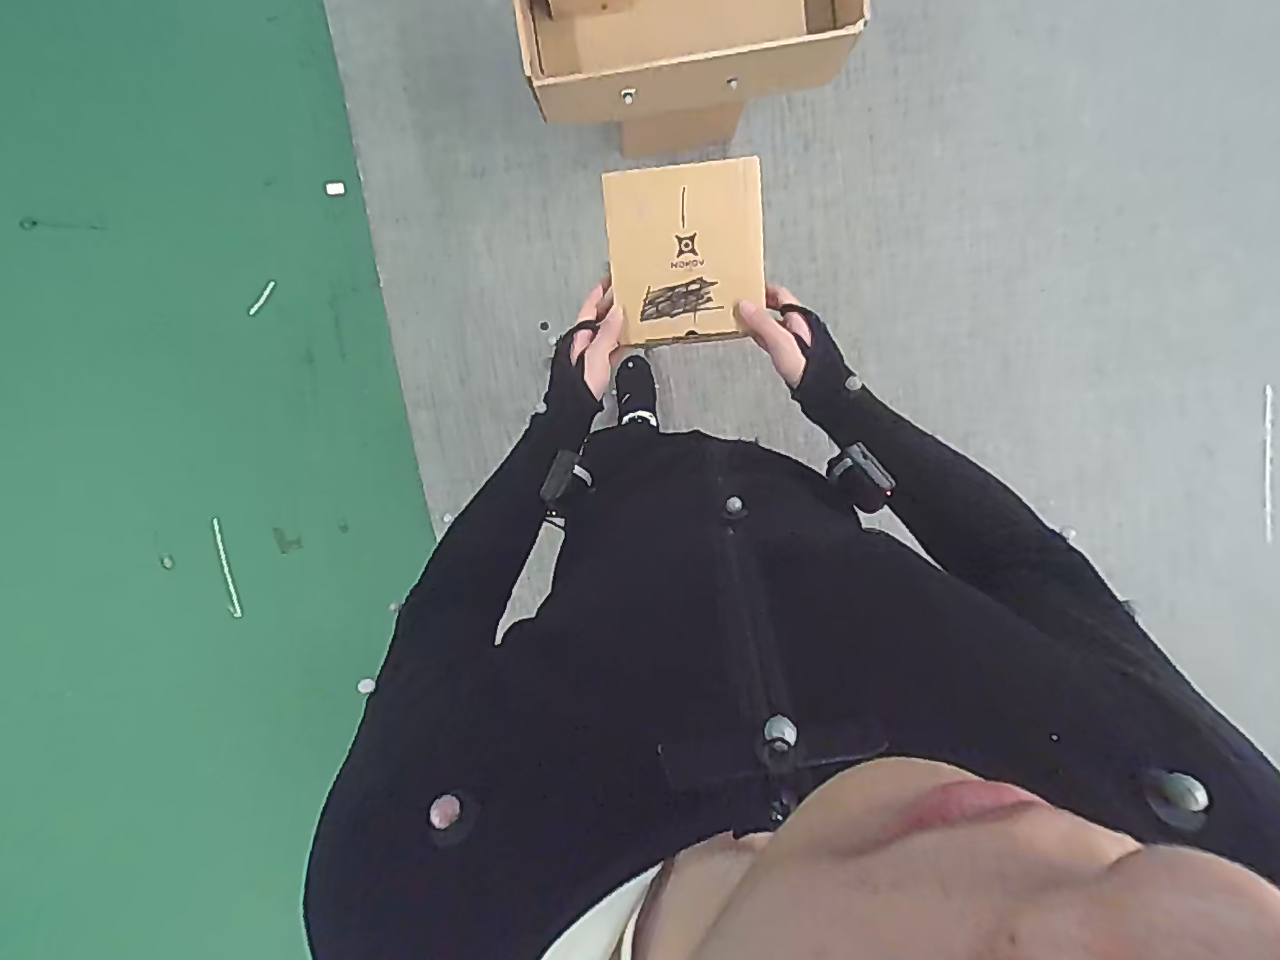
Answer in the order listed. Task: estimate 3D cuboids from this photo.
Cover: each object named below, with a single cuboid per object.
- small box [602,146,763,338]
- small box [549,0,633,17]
[{"bbox_3d":[0.050,-0.266,0.646,0.168,0.176,0.179,-4,101,2],"label":"small box"},{"bbox_3d":[-0.102,-0.990,0.968,0.168,0.176,0.179,-6,98,1],"label":"small box"}]
